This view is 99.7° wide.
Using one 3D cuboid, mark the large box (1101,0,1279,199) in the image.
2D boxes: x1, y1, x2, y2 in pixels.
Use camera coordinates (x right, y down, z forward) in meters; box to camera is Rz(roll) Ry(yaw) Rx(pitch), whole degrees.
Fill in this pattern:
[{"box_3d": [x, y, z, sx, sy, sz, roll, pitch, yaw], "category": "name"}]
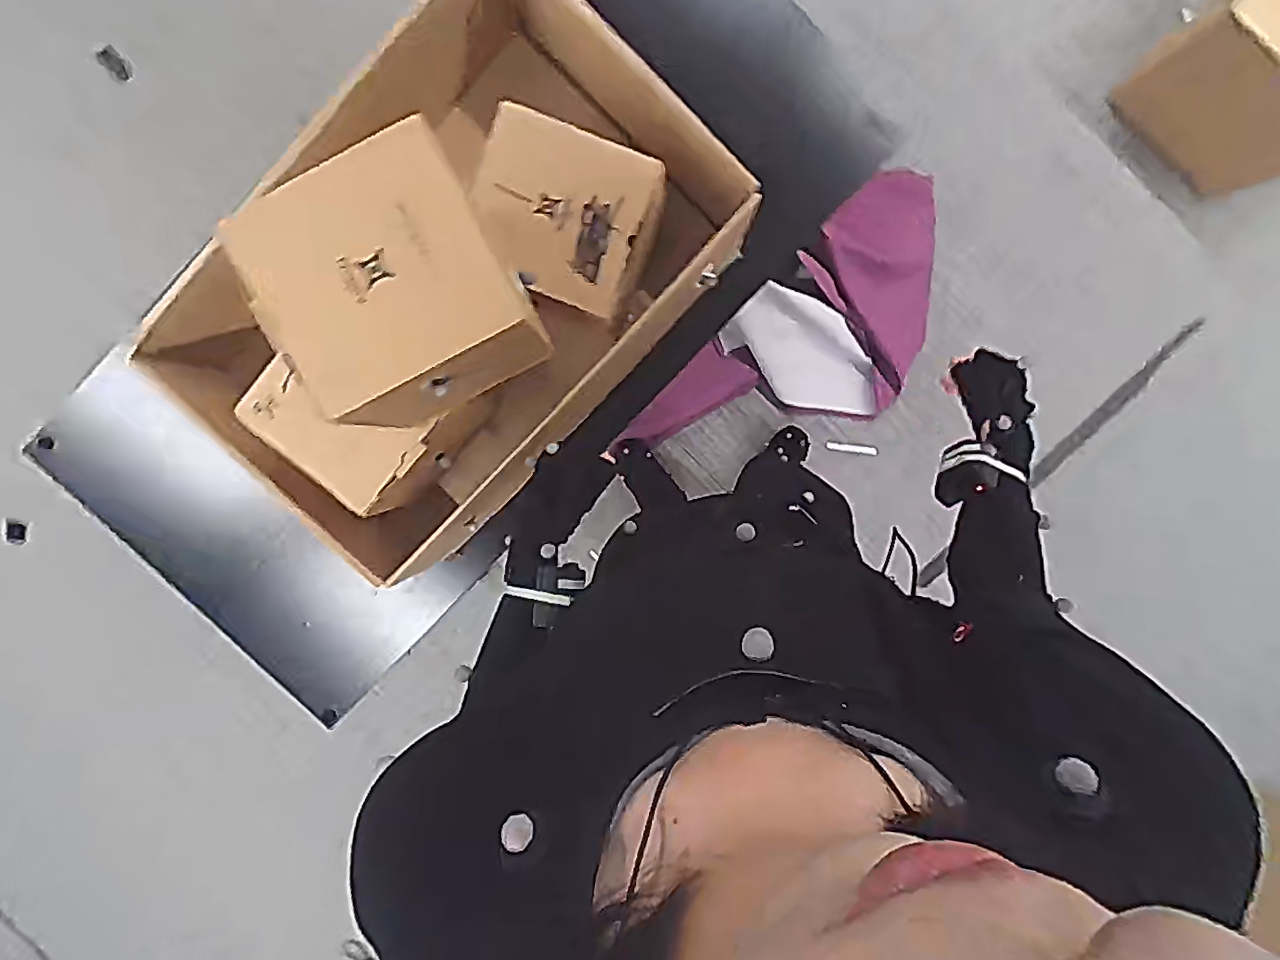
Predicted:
[{"box_3d": [1.447, -0.970, 1.270, 0.408, 0.320, 0.320, 40, 94, -3], "category": "large box"}]
